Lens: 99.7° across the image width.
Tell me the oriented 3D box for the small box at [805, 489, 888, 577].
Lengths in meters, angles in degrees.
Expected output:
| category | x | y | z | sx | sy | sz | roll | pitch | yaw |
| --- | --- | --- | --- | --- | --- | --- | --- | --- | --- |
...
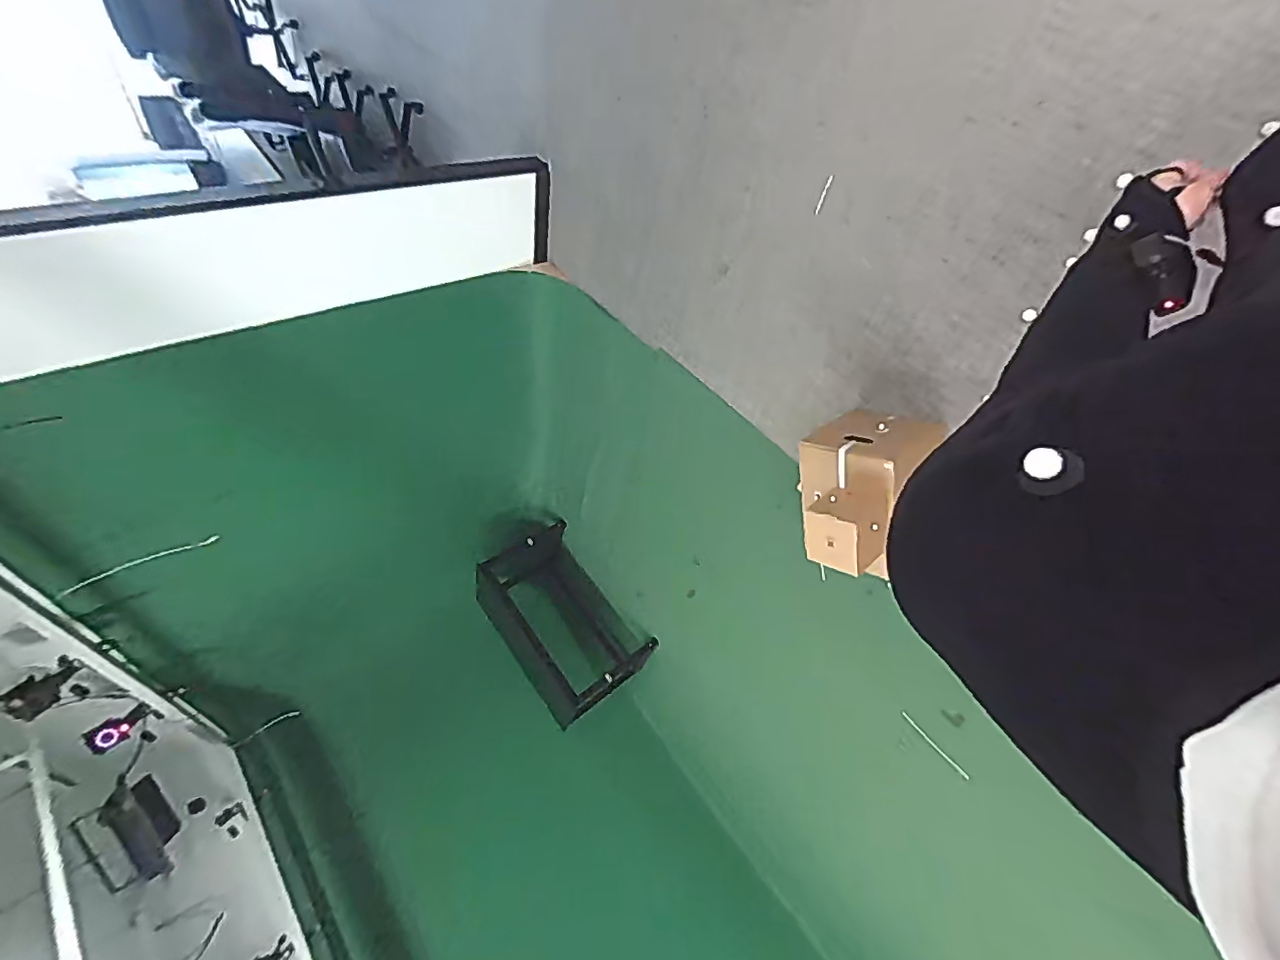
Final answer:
| category | x | y | z | sx | sy | sz | roll | pitch | yaw |
| --- | --- | --- | --- | --- | --- | --- | --- | --- | --- |
| small box | 0.603 | 0.146 | 1.573 | 0.168 | 0.176 | 0.179 | 19 | 129 | 48 |
